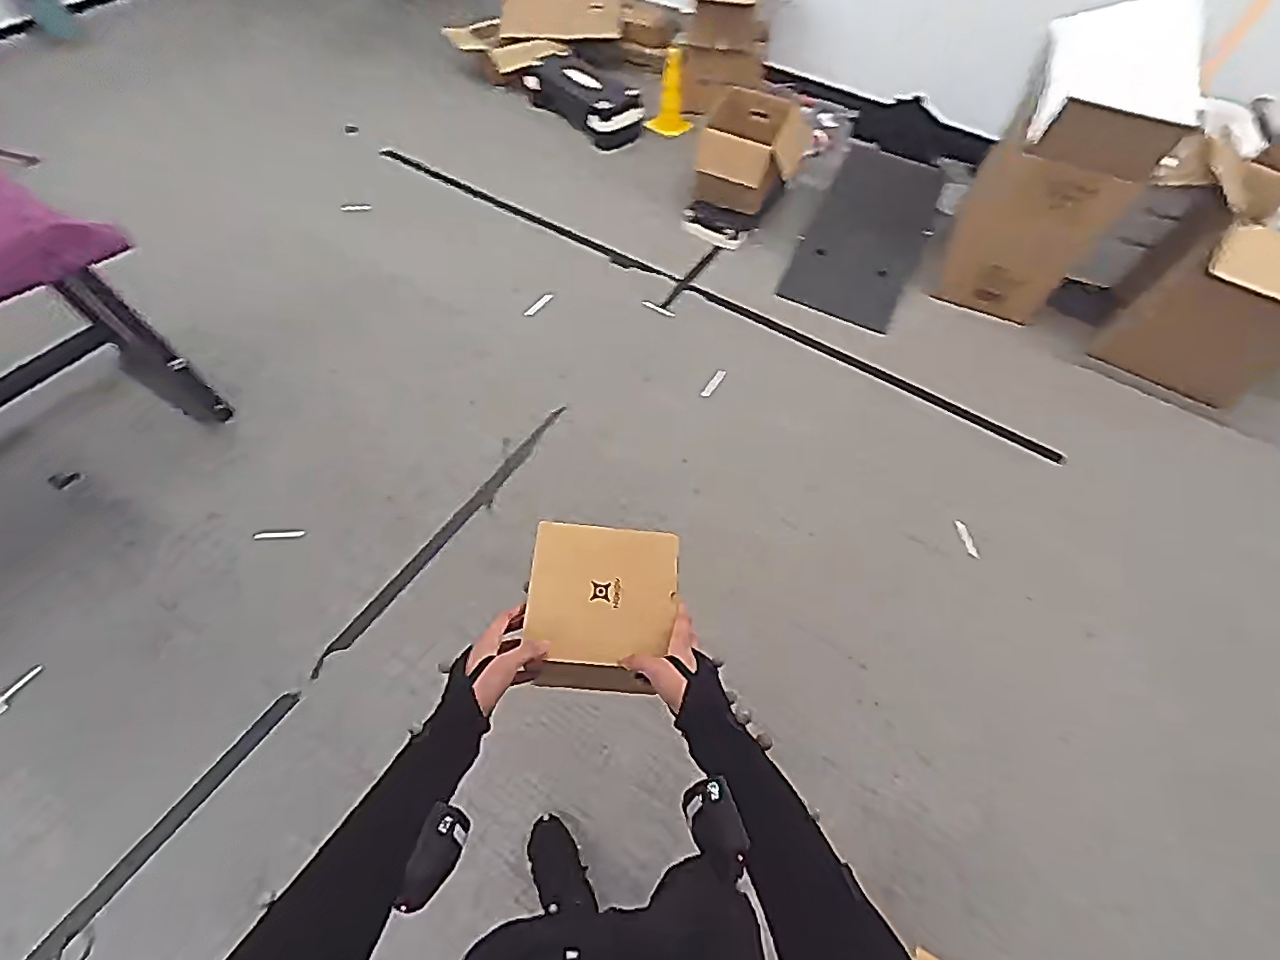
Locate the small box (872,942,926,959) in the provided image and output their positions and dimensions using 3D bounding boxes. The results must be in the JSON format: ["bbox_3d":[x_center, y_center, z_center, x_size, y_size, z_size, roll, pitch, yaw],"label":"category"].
[{"bbox_3d":[0.534,1.001,0.996,0.179,0.176,0.168,26,60,13],"label":"small box"}]

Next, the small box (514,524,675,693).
[{"bbox_3d":[-0.055,0.172,0.693,0.179,0.176,0.168,6,60,-5],"label":"small box"}]
